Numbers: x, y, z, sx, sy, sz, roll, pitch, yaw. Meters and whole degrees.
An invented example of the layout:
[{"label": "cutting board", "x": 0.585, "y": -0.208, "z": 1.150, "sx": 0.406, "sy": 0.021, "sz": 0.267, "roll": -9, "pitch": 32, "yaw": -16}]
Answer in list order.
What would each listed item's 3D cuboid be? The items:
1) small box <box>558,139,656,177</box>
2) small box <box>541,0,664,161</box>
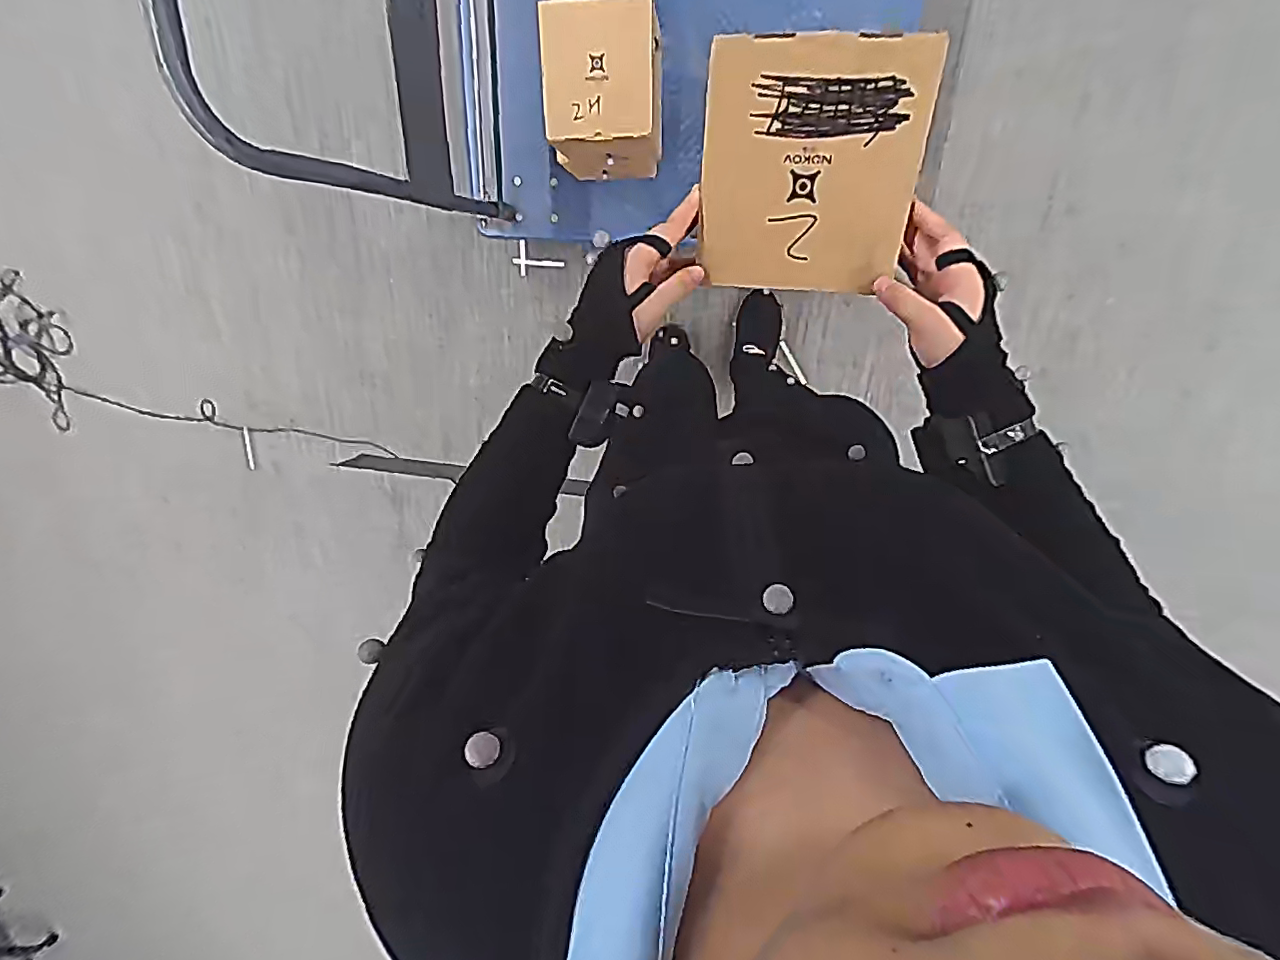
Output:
[{"label": "small box", "x": -0.058, "y": -0.683, "z": 1.013, "sx": 0.168, "sy": 0.176, "sz": 0.179, "roll": 1, "pitch": 111, "yaw": 7}, {"label": "small box", "x": -0.052, "y": -0.625, "z": 0.857, "sx": 0.168, "sy": 0.176, "sz": 0.179, "roll": 2, "pitch": 111, "yaw": 7}]
